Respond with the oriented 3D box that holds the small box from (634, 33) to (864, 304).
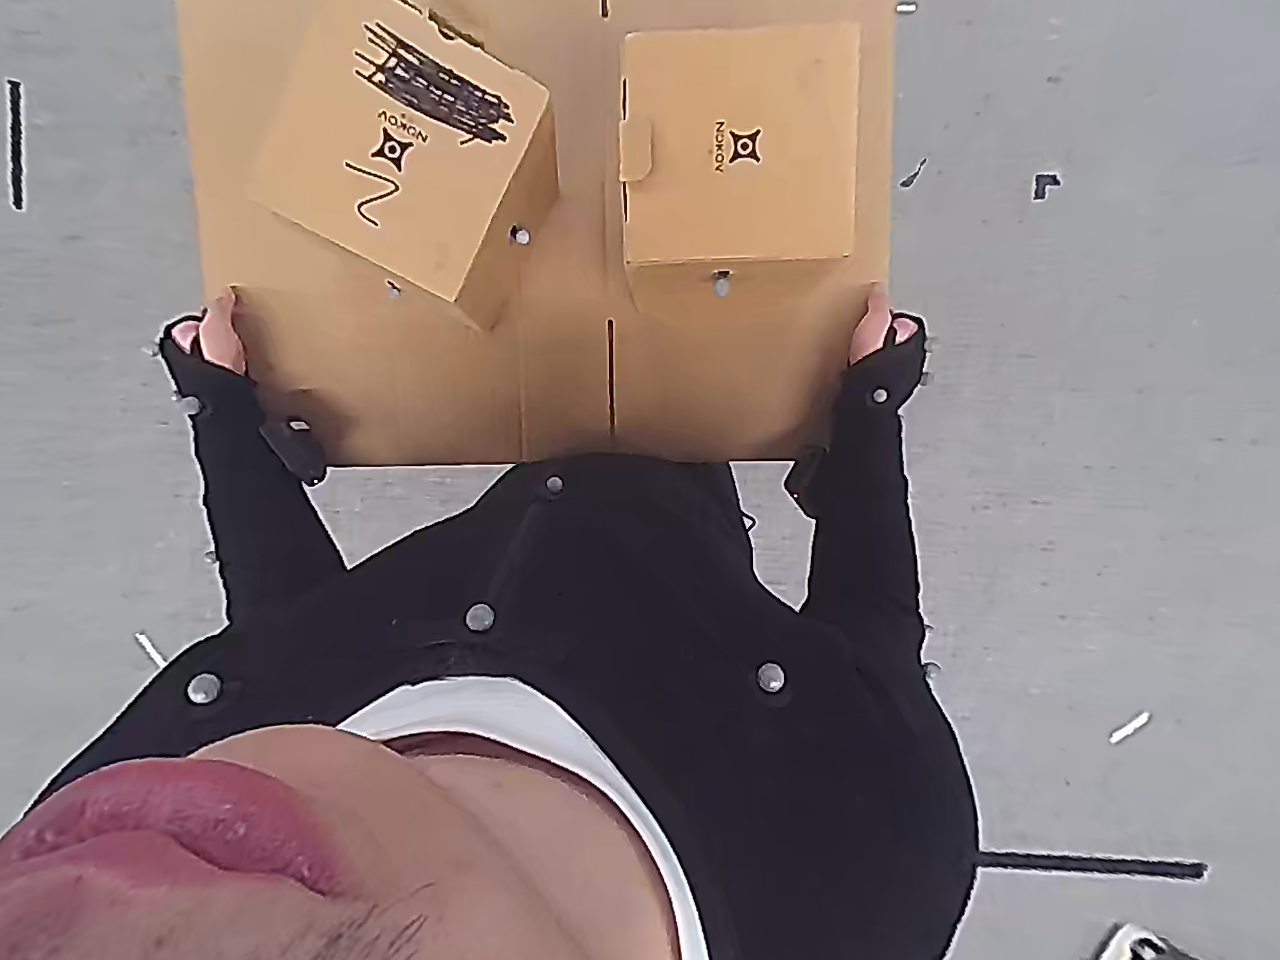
[{"bbox_3d":[0.087,-0.264,0.499,0.179,0.176,0.168,0,96,4],"label":"small box"}]
